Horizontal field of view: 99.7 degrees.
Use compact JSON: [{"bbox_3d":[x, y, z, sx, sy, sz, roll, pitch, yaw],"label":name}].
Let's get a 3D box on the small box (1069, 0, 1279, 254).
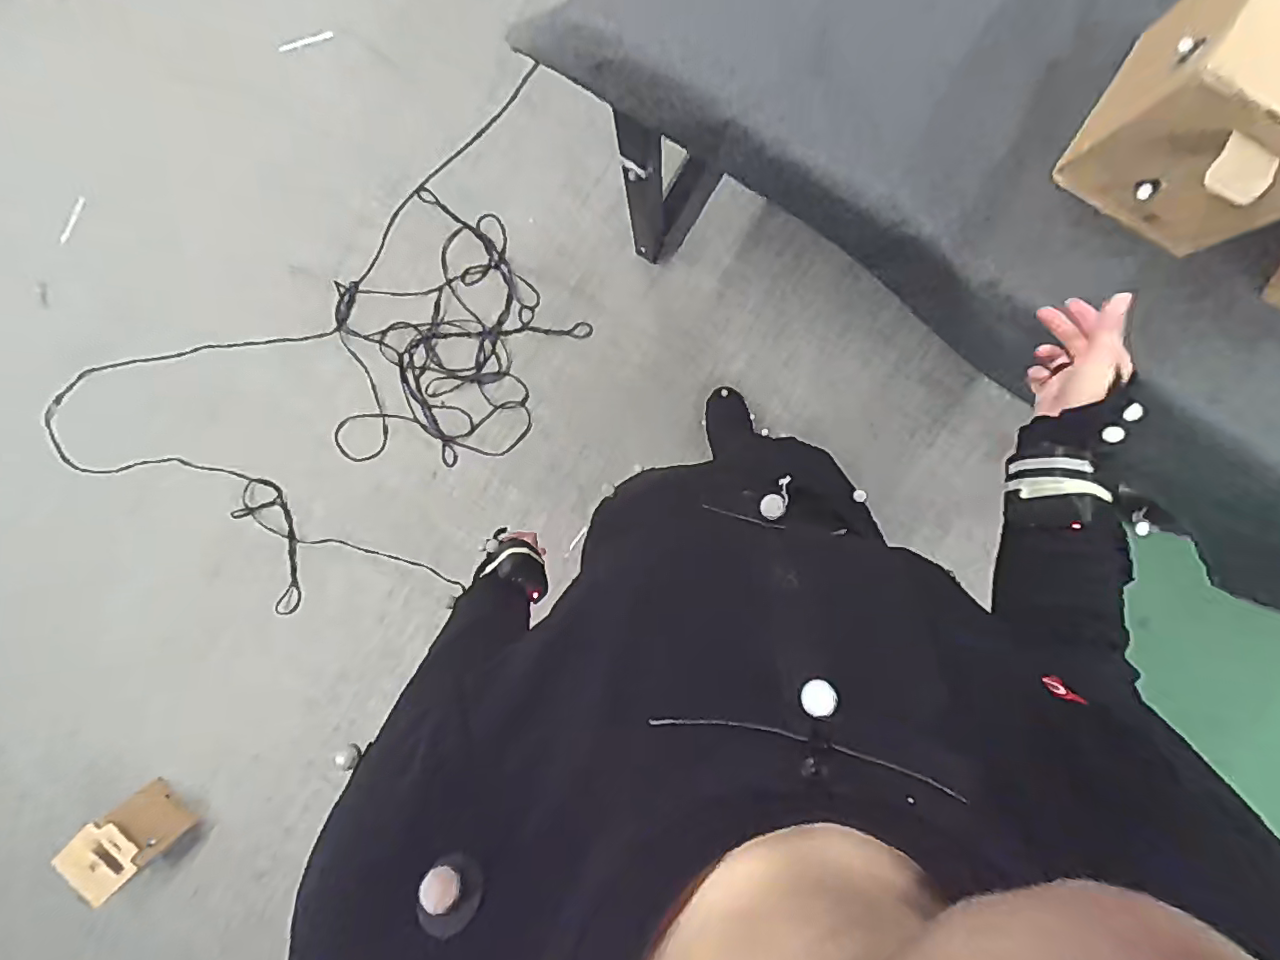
[{"bbox_3d":[0.551,-0.344,0.488,0.168,0.176,0.179,31,94,0],"label":"small box"}]
